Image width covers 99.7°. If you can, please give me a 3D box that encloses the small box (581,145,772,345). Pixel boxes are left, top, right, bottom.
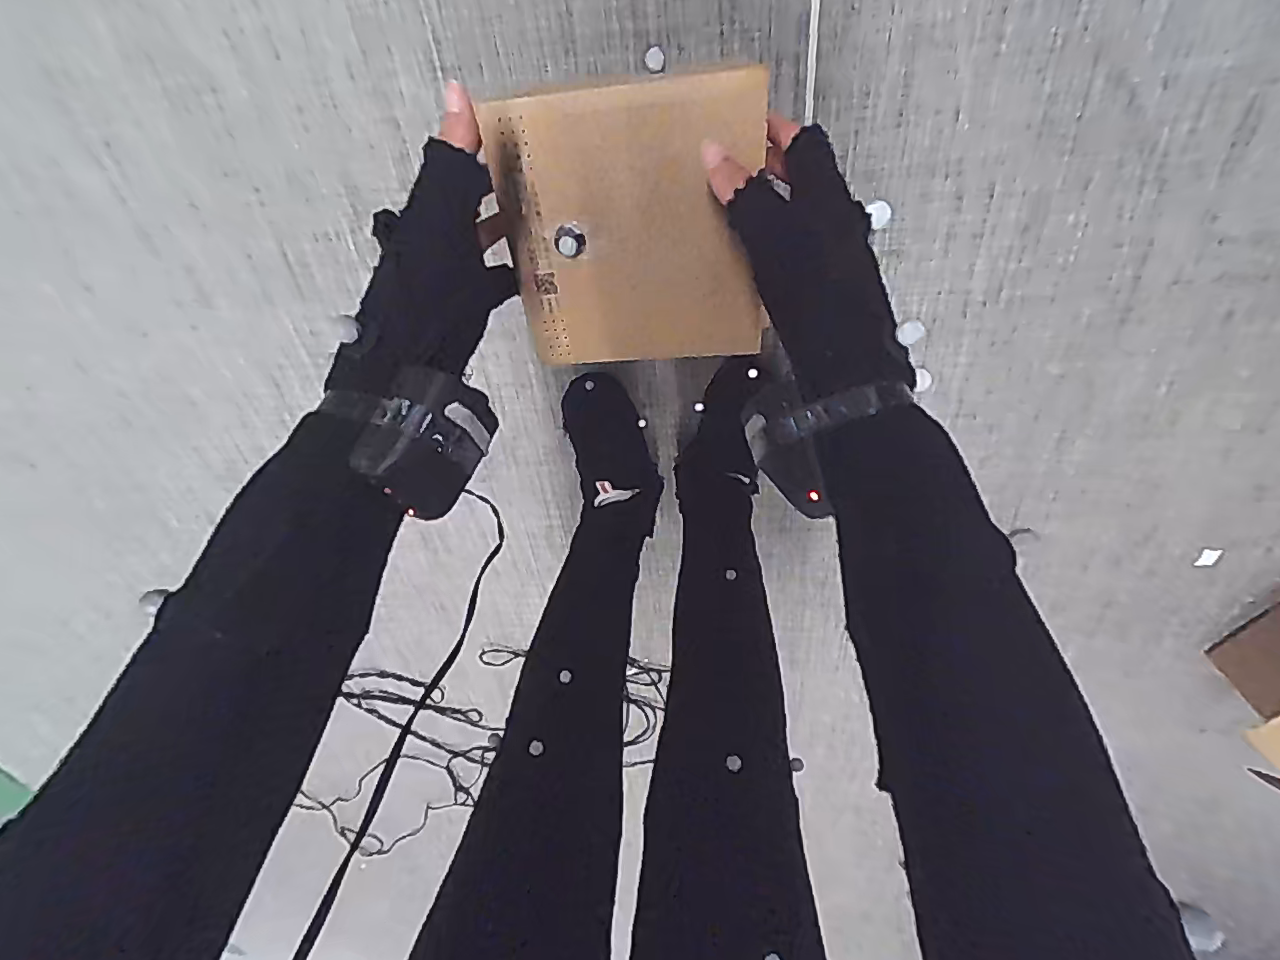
[{"bbox_3d":[0.049,-0.262,0.597,0.179,0.176,0.168,-3,122,11],"label":"small box"}]
